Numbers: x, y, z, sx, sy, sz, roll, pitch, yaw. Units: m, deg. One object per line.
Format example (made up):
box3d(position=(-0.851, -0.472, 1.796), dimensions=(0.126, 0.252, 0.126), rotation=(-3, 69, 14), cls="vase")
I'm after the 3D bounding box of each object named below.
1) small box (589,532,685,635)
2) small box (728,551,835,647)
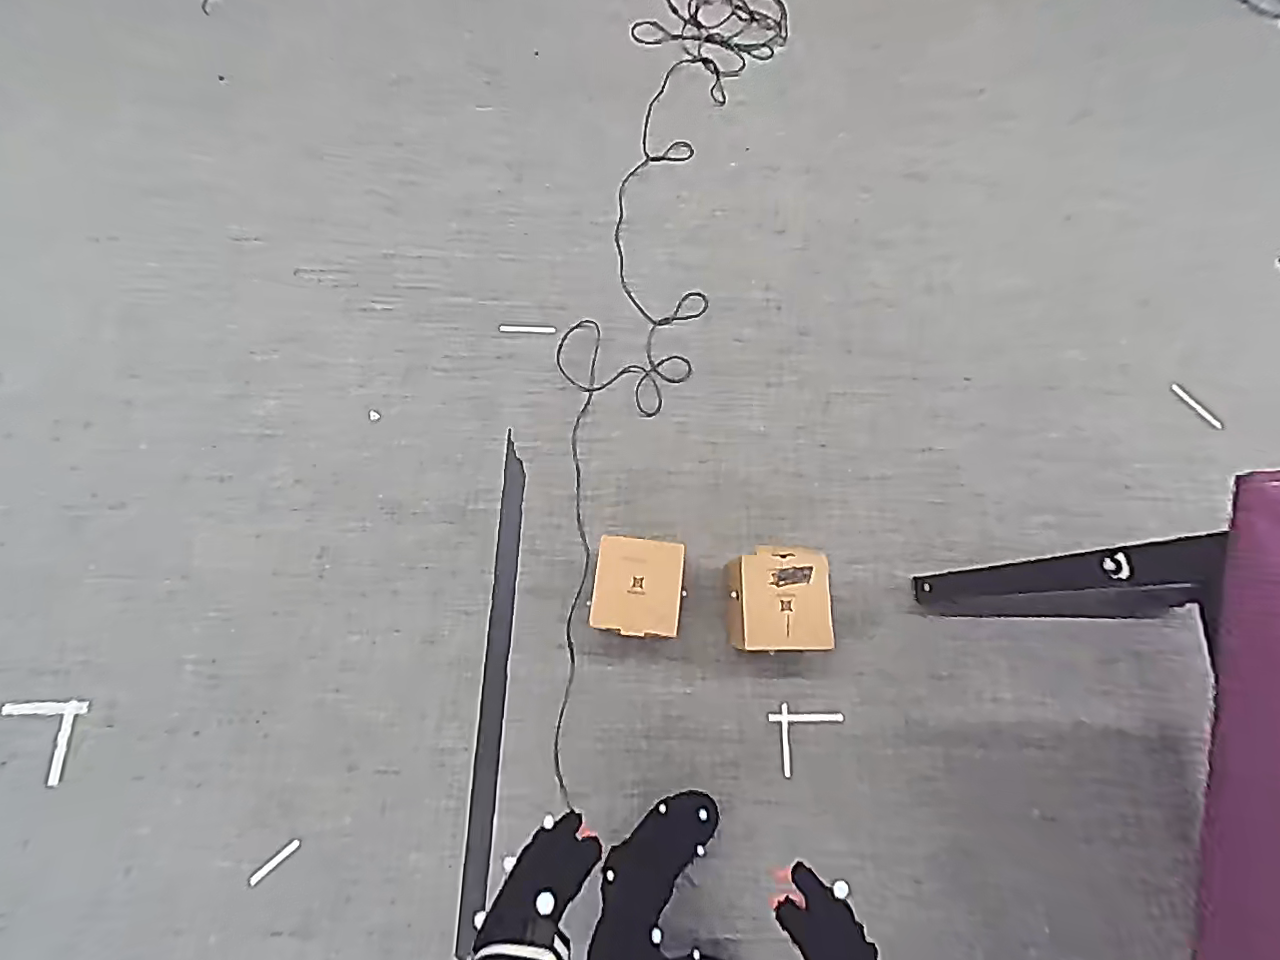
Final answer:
box3d(position=(-0.005, 0.213, 1.086), dimensions=(0.168, 0.176, 0.179), rotation=(6, 74, 0), cls="small box")
box3d(position=(0.272, 0.240, 1.078), dimensions=(0.168, 0.176, 0.179), rotation=(0, 75, 0), cls="small box")
